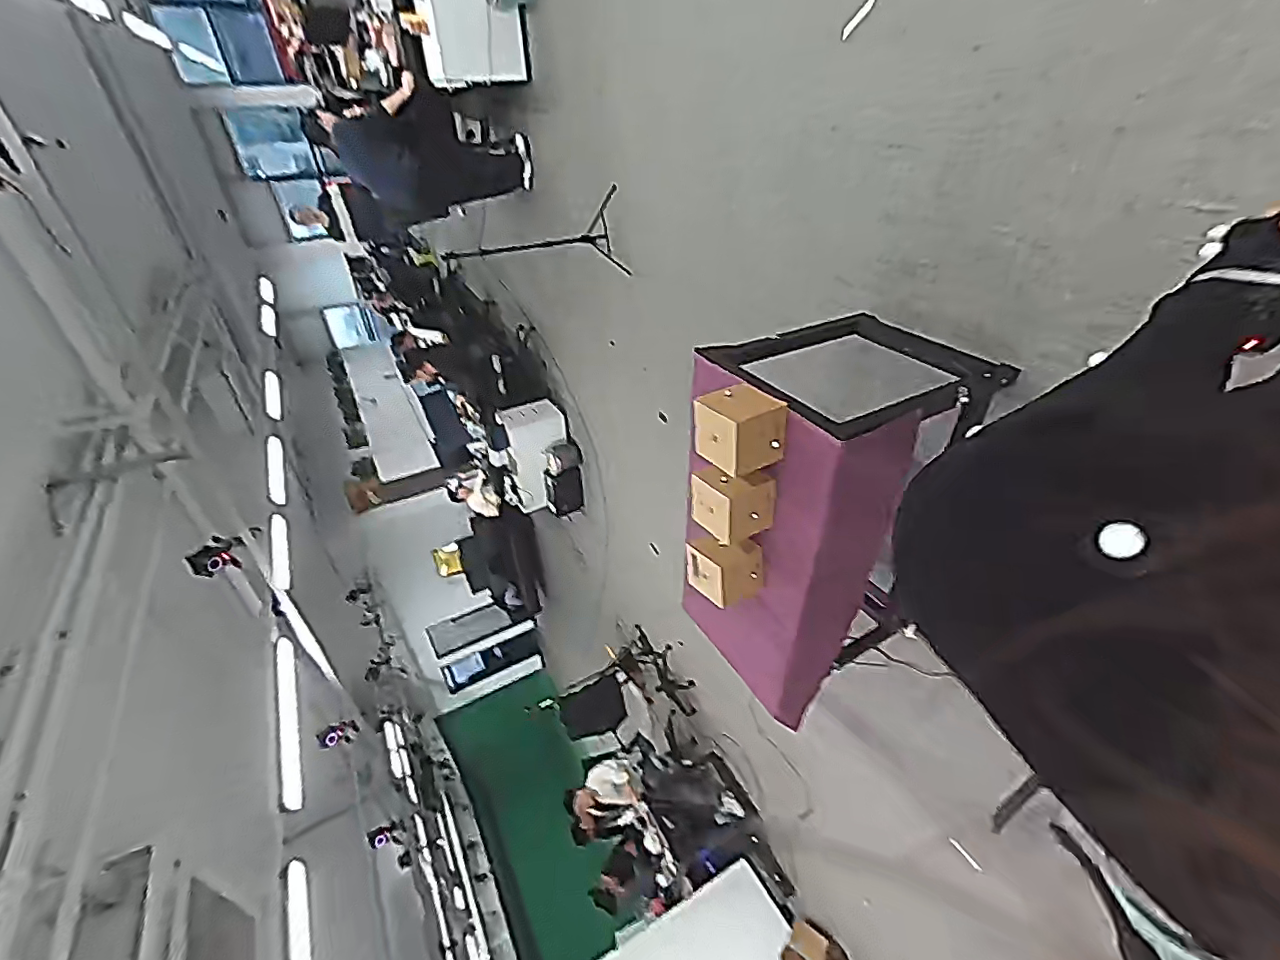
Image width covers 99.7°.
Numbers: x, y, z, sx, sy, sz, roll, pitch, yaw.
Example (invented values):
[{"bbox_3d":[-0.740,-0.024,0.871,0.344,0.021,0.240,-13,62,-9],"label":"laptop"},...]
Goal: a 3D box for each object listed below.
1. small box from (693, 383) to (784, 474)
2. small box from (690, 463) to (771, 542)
[{"bbox_3d":[0.258,-0.146,1.443,0.179,0.176,0.168,43,147,48],"label":"small box"},{"bbox_3d":[0.265,0.046,1.585,0.179,0.176,0.168,41,144,49],"label":"small box"}]
